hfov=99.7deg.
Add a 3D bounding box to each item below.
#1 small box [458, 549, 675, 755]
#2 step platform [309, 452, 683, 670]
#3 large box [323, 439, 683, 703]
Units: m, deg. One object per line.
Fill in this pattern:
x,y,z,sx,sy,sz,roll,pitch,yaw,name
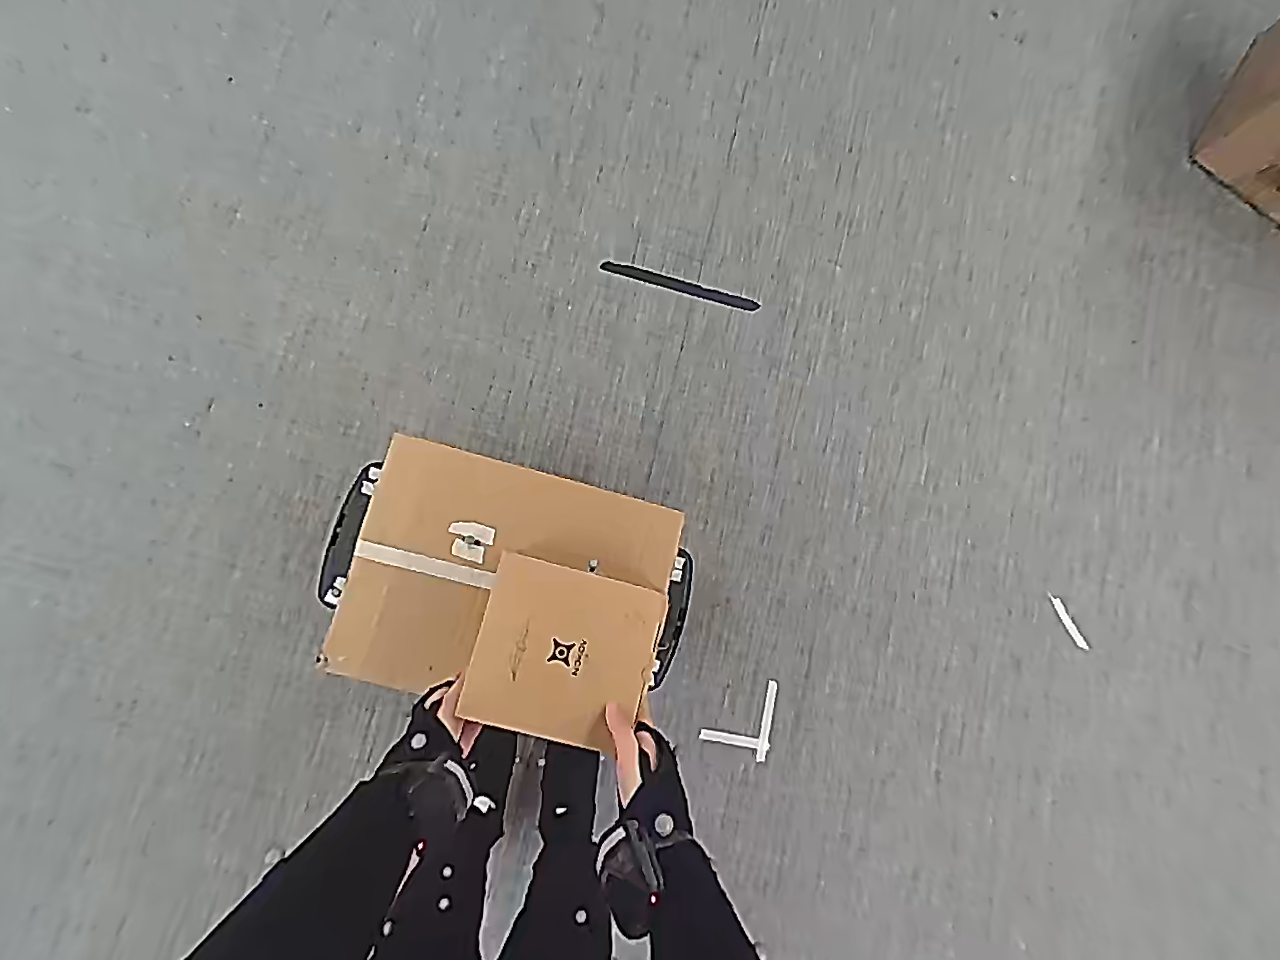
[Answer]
-0.077,0.176,0.608,0.179,0.176,0.168,16,82,-4,small box
-0.261,0.190,1.075,0.684,0.204,0.286,21,81,-3,step platform
-0.178,0.158,0.847,0.408,0.320,0.320,16,81,-3,large box
